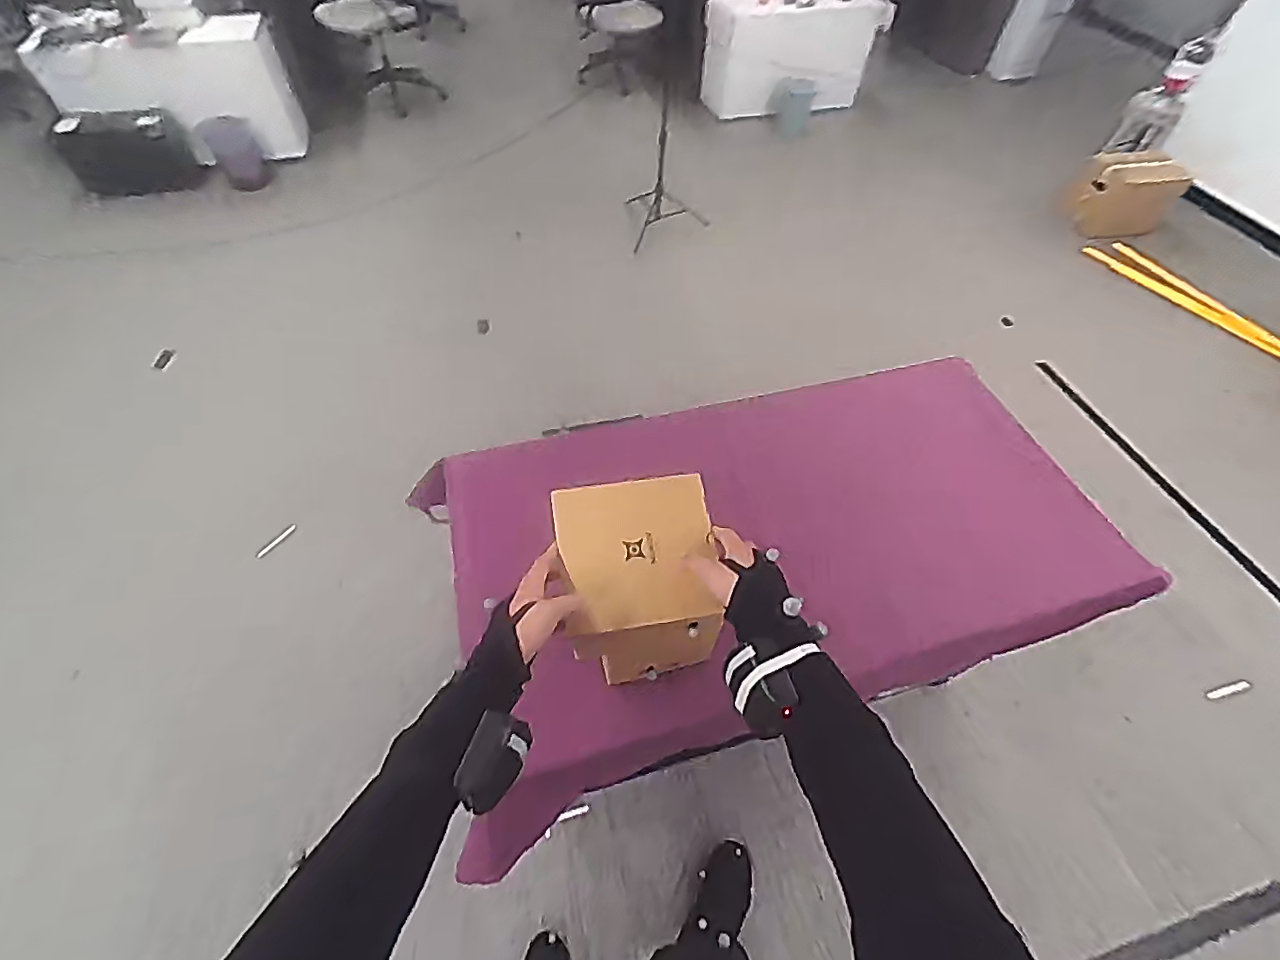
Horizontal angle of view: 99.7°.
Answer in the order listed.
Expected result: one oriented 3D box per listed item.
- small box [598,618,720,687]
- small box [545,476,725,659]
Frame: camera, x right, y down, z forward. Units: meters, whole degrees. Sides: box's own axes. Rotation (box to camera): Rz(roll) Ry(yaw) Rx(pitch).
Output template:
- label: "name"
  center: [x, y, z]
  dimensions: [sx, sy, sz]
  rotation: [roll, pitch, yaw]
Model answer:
- label: "small box"
  center: [0.007, 0.191, 0.822]
  dimensions: [0.168, 0.176, 0.179]
  rotation: [-12, 56, -9]
- label: "small box"
  center: [-0.013, 0.112, 0.650]
  dimensions: [0.179, 0.176, 0.168]
  rotation: [-7, 66, -8]
